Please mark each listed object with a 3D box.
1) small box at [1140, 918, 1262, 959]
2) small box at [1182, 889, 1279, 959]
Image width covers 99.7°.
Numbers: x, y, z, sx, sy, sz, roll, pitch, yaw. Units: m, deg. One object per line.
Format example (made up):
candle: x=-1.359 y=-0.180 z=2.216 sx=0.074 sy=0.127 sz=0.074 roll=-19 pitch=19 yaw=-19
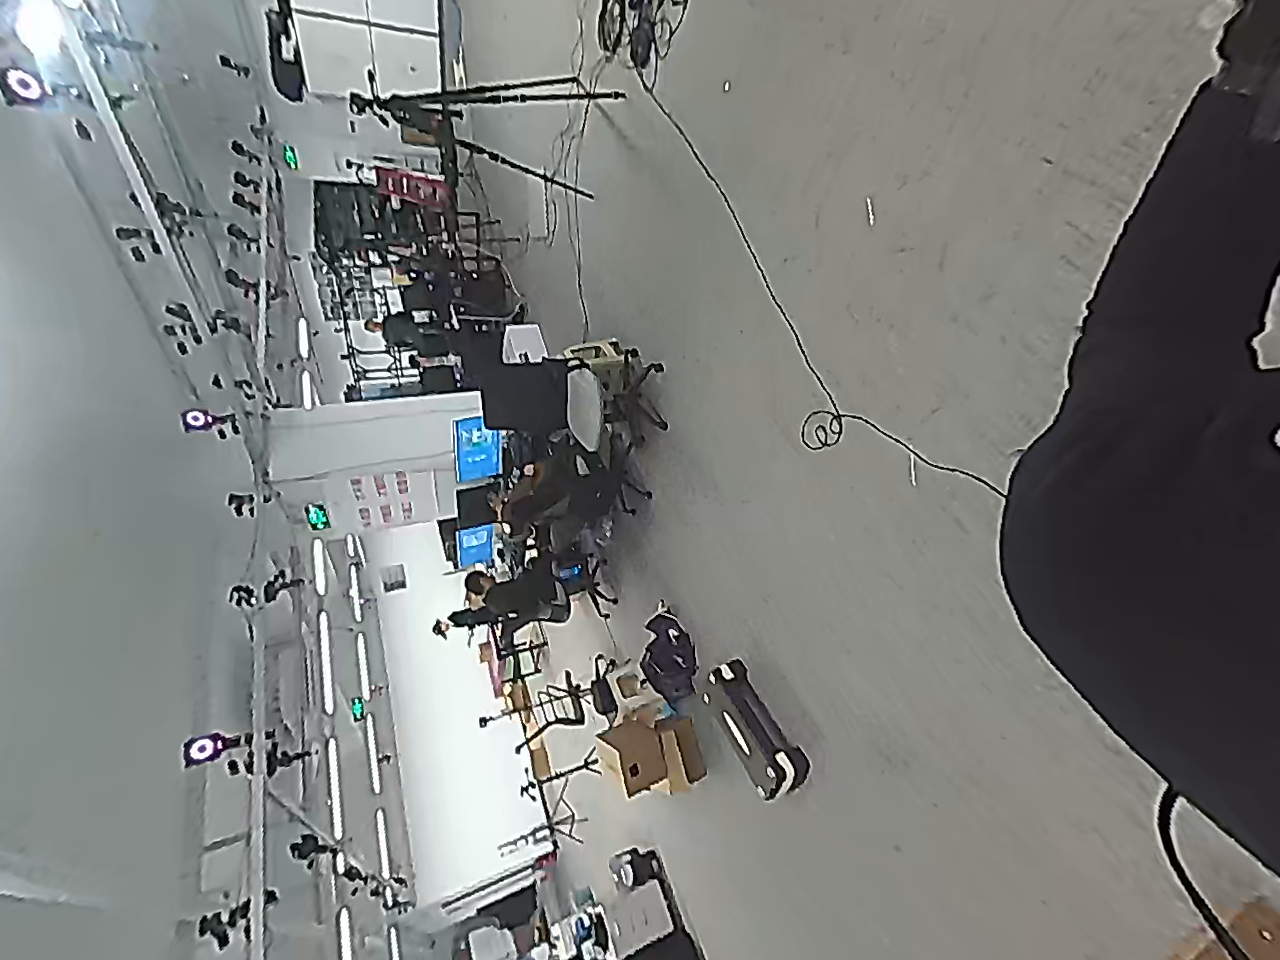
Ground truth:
small box: x=1.225 y=1.088 z=1.154 sx=0.168 sy=0.176 sz=0.179 roll=-124 pitch=34 yaw=-44
small box: x=1.376 y=1.066 z=1.216 sx=0.168 sy=0.176 sz=0.179 roll=-125 pitch=31 yaw=-45
